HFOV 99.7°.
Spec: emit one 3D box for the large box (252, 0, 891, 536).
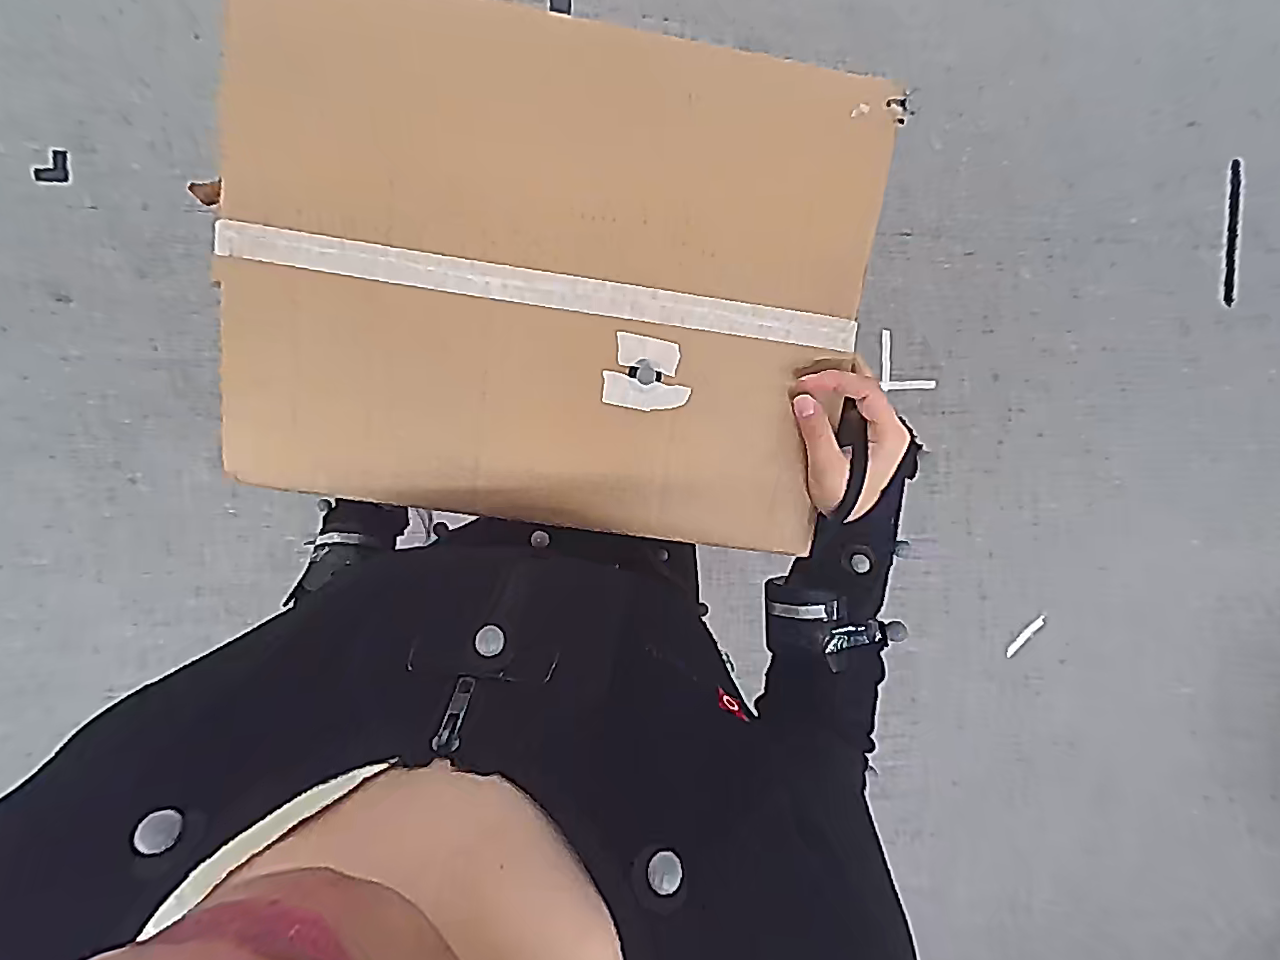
[{"bbox_3d":[-0.060,-0.153,0.506,0.408,0.320,0.320,7,101,-6],"label":"large box"}]
